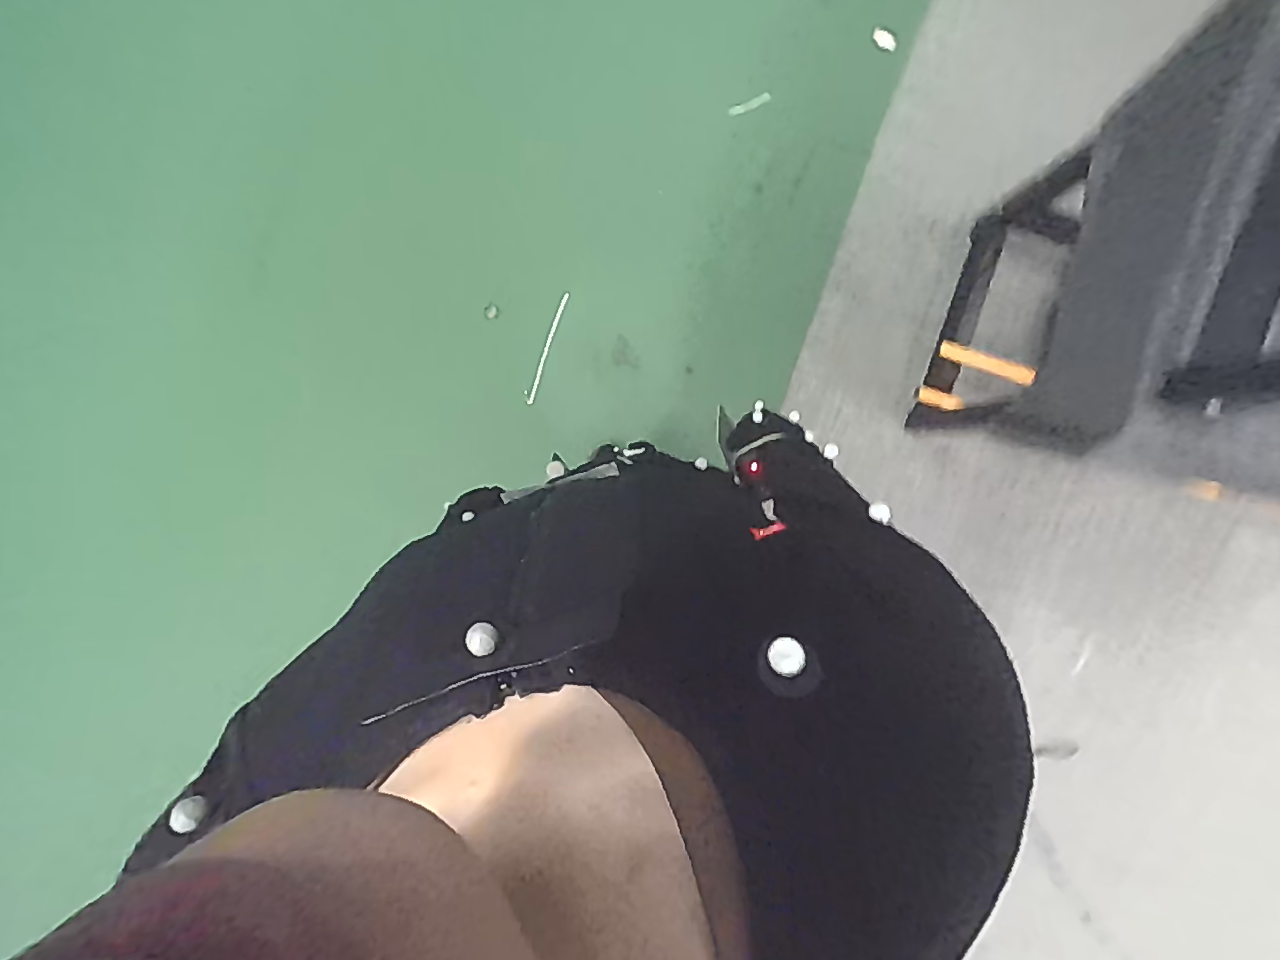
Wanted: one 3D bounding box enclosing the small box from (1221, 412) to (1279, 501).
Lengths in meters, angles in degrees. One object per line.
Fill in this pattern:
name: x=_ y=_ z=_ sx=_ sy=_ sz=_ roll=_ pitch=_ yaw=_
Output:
small box: x=1.511 y=-0.048 z=1.236 sx=0.168 sy=0.176 sz=0.179 roll=21 pitch=96 yaw=0
